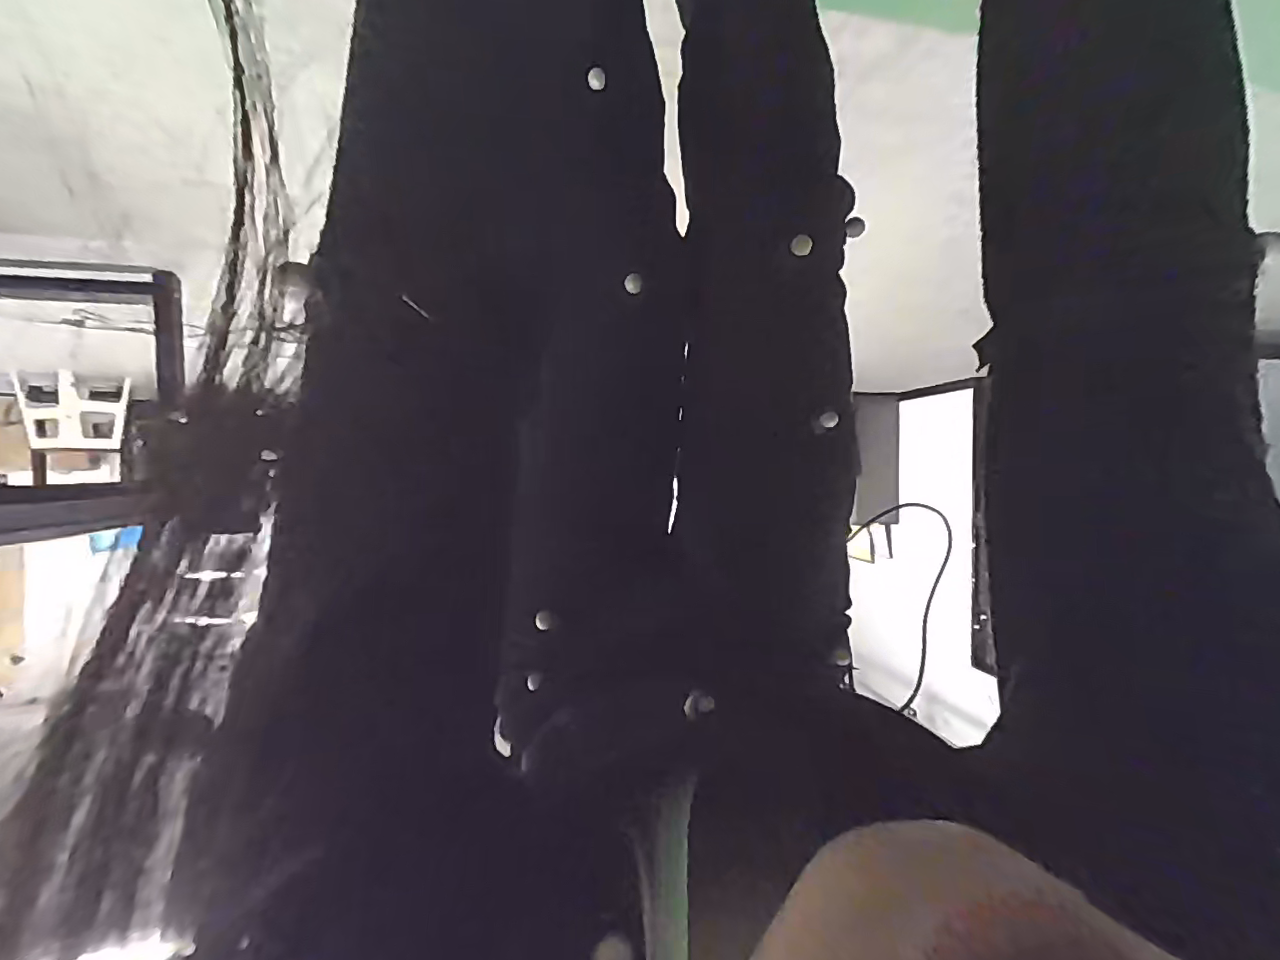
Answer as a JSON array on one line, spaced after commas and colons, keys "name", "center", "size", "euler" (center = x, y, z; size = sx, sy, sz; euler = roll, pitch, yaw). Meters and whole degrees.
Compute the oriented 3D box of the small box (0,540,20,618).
[{"name": "small box", "center": [-1.459, 0.216, 1.121], "size": [0.179, 0.176, 0.168], "euler": [0, -178, -12]}]
